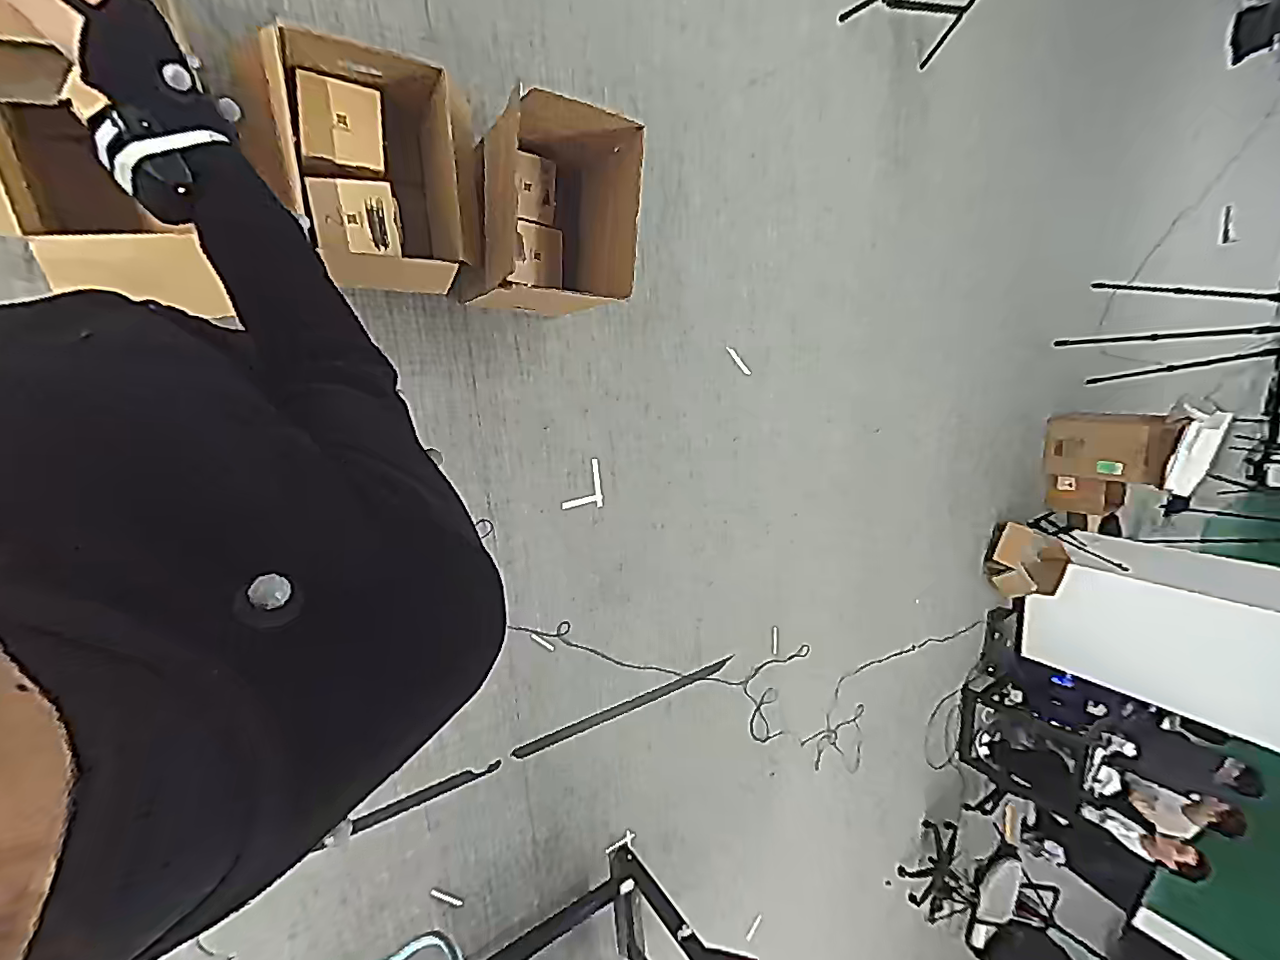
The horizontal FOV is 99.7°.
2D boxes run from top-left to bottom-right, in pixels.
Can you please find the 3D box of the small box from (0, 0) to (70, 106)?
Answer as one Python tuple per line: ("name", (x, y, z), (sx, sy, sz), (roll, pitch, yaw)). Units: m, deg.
("small box", (-0.559, -0.378, 0.374), (0.179, 0.176, 0.168), (-31, 126, -44))
